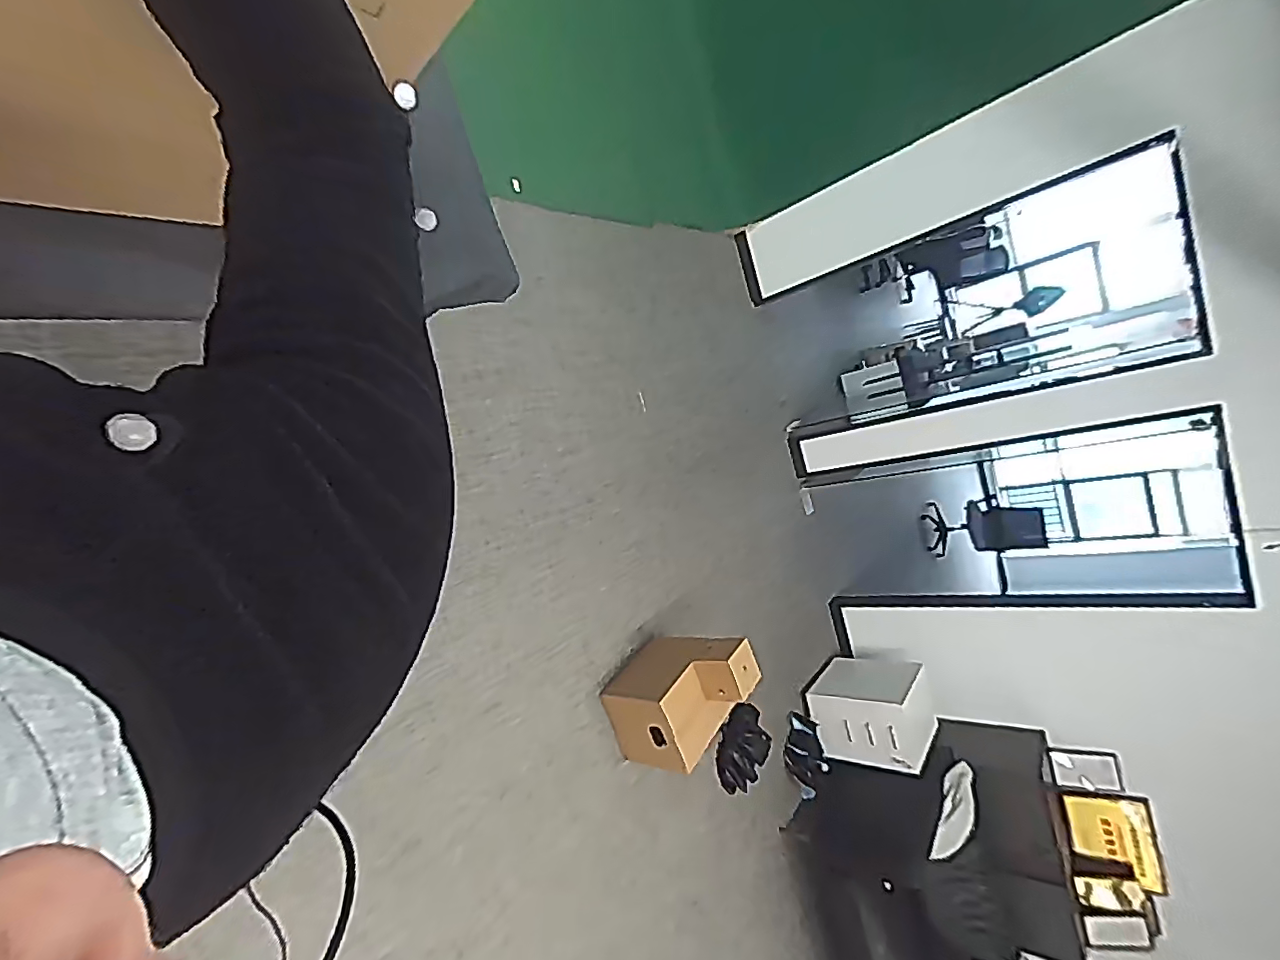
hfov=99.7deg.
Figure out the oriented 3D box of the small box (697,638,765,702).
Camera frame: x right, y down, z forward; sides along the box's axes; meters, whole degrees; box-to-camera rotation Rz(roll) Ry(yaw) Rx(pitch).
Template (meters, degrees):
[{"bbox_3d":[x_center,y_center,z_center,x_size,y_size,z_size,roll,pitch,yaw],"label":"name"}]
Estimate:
[{"bbox_3d":[0.350,0.732,2.090,0.168,0.176,0.179,-30,99,-49],"label":"small box"}]
